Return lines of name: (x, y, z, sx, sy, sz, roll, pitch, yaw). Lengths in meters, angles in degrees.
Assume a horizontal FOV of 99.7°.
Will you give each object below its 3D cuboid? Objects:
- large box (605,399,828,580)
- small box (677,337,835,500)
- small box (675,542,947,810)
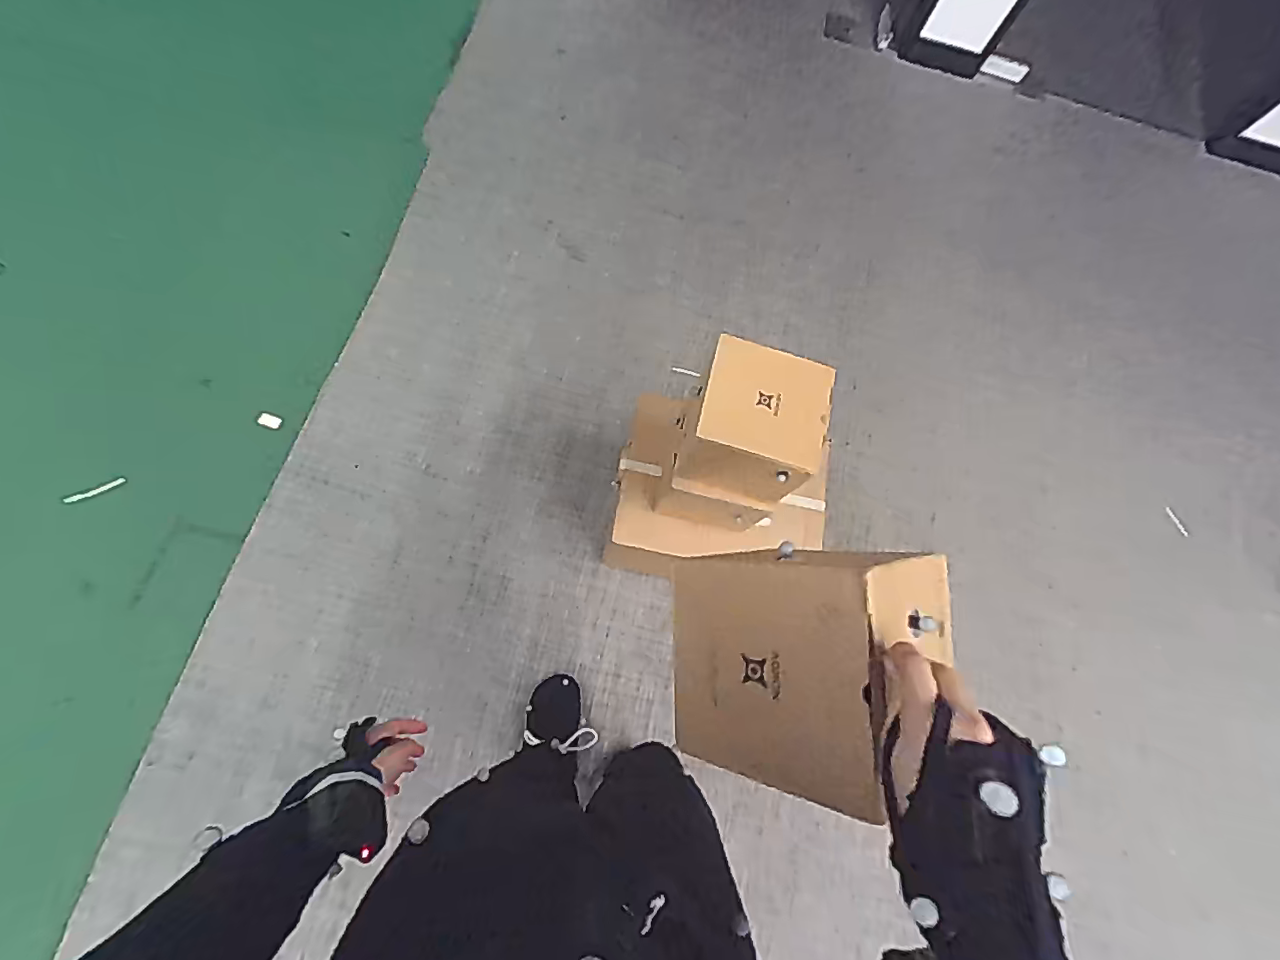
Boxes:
large box: (0.151, 0.058, 1.198, 0.408, 0.320, 0.320, 12, 73, -5)
small box: (0.165, -0.082, 0.813, 0.179, 0.176, 0.168, 16, 71, -3)
small box: (0.150, 0.140, 0.466, 0.176, 0.179, 0.168, 5, 83, -45)
